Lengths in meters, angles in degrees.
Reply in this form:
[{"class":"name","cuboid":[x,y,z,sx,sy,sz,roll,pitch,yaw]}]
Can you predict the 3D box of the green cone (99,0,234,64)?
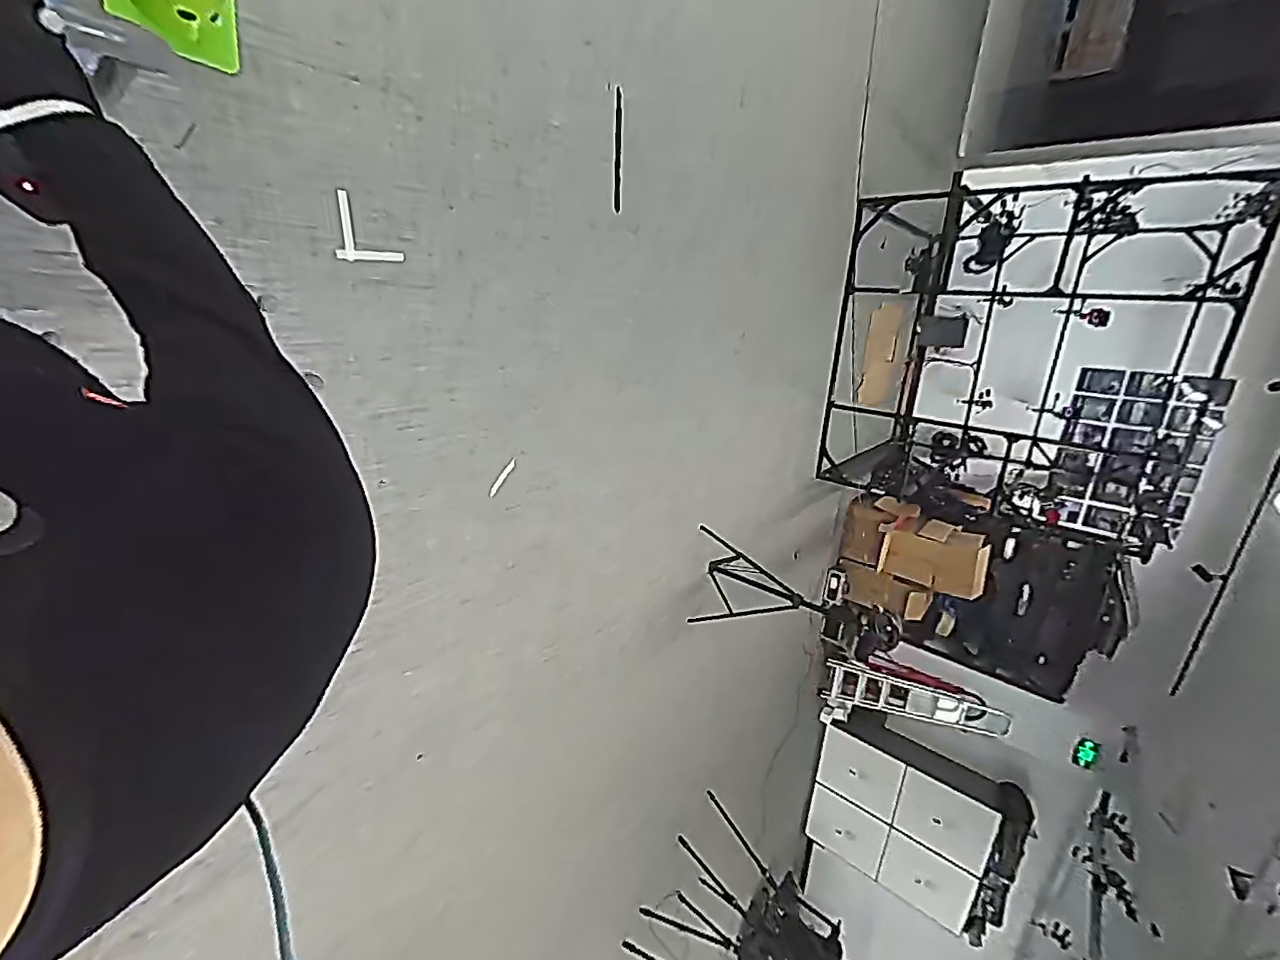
[{"class":"green cone","cuboid":[-0.749,-0.884,0.907,0.202,0.368,0.200,-14,114,-51]}]
